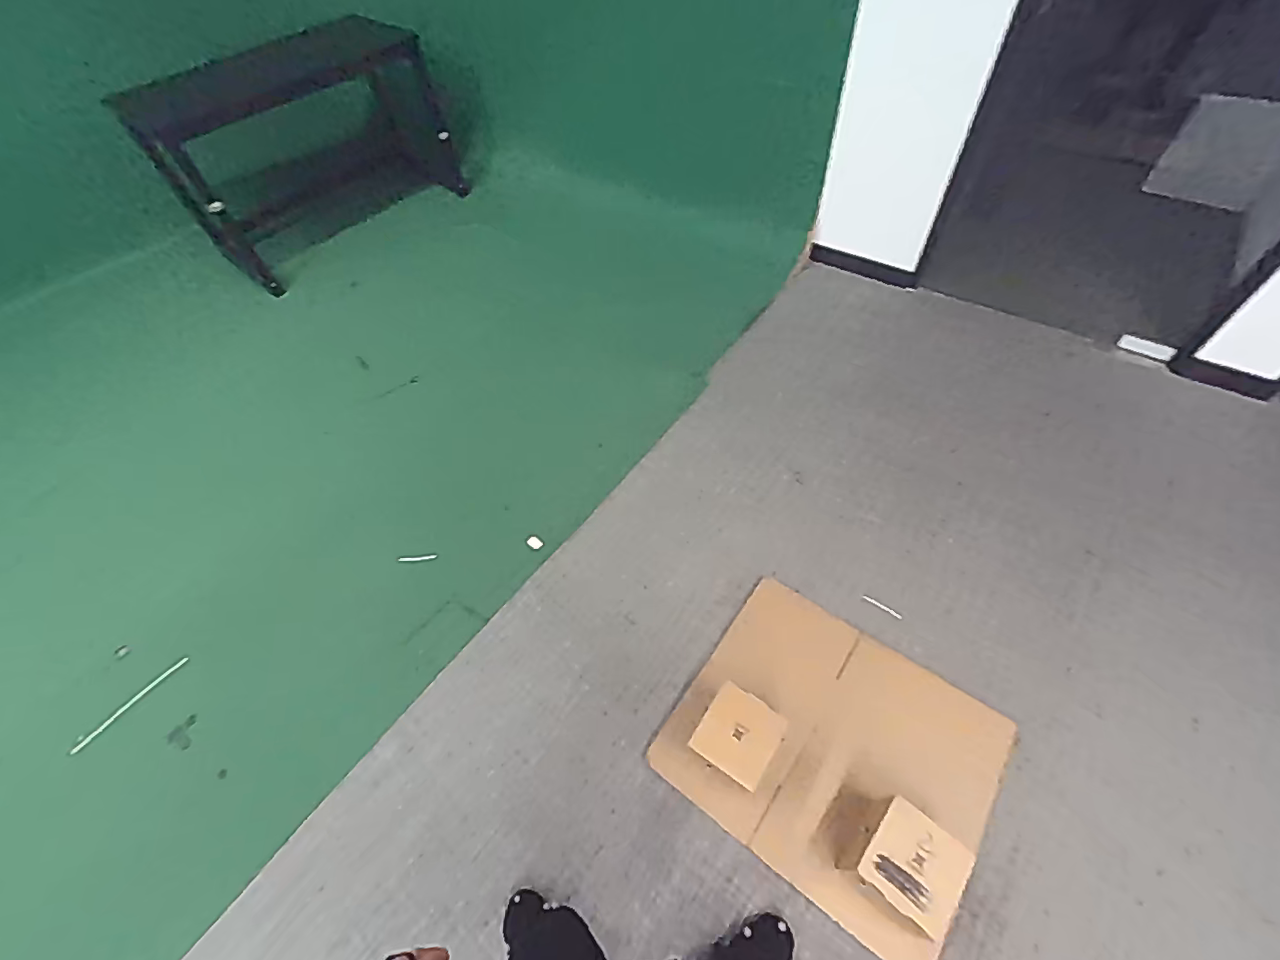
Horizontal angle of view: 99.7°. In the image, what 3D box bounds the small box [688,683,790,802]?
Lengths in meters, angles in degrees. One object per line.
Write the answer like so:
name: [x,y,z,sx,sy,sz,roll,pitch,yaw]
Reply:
small box: [0.225,0.612,1.251,0.168,0.176,0.179,29,60,22]
